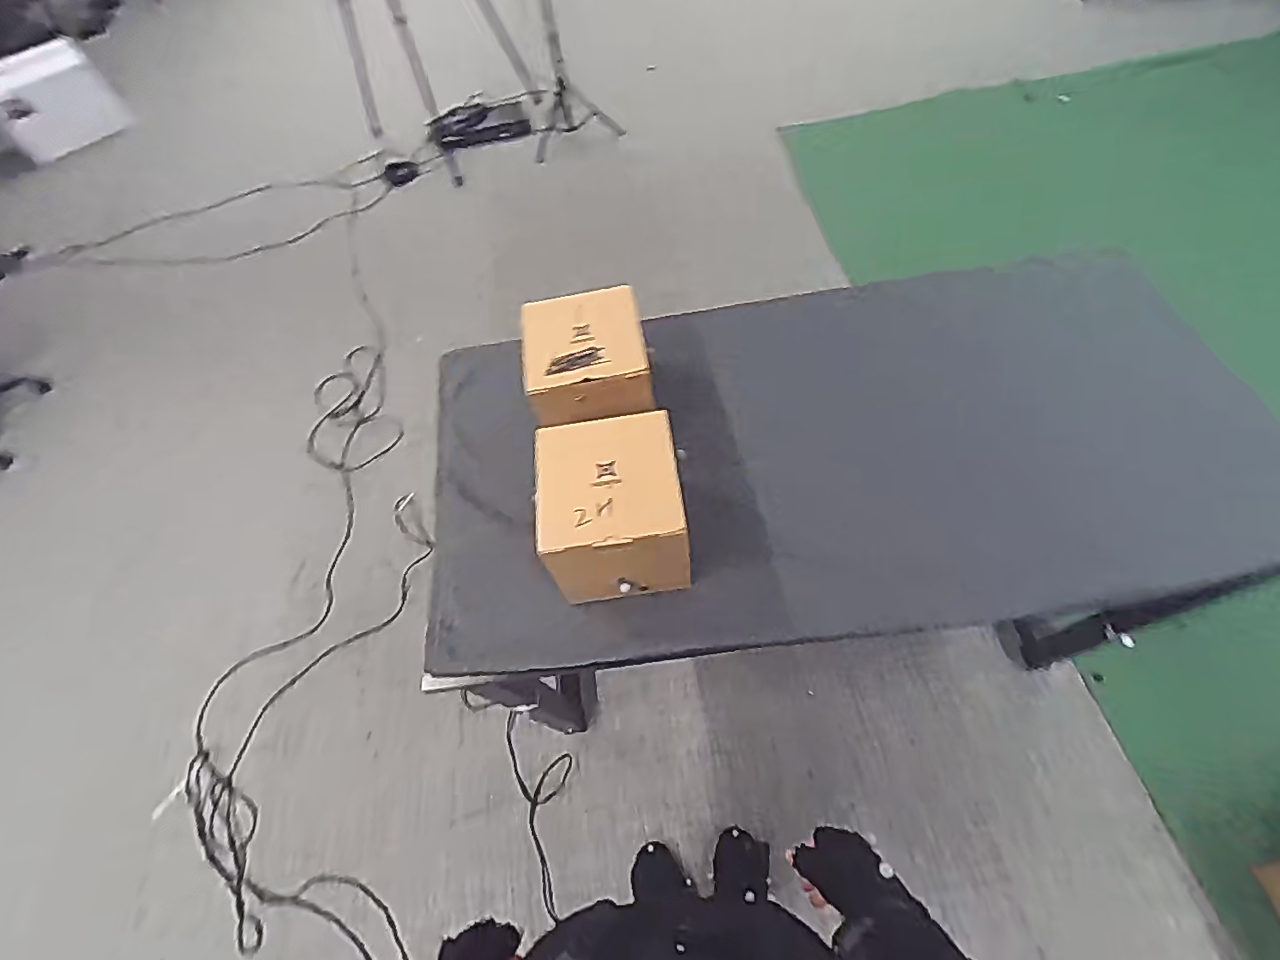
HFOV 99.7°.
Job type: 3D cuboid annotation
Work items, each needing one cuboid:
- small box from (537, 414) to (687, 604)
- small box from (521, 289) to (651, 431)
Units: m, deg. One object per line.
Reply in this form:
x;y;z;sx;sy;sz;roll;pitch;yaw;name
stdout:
-0.033;0.042;0.701;0.168;0.176;0.179;-9;58;2;small box
-0.077;-0.155;0.824;0.168;0.176;0.179;-10;58;1;small box
